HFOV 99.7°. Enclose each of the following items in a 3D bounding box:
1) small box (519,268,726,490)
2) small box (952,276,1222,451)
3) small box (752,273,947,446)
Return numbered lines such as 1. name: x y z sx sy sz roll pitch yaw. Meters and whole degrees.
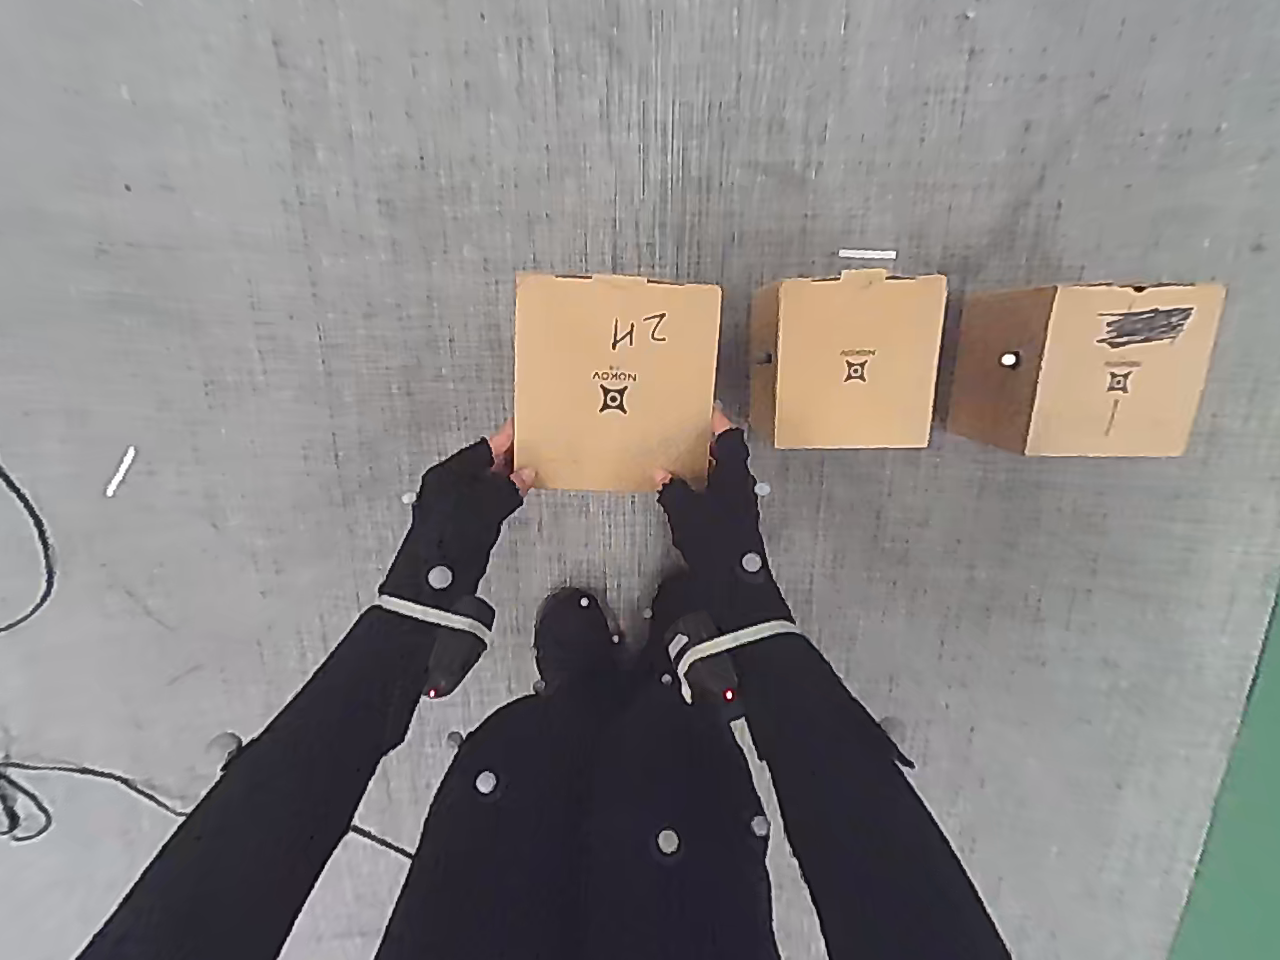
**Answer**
1. small box: -0.020 -0.095 0.527 0.168 0.176 0.179 2 100 -4
2. small box: 0.492 -0.133 0.628 0.168 0.176 0.179 0 105 2
3. small box: 0.229 -0.141 0.637 0.168 0.176 0.179 -1 104 2
